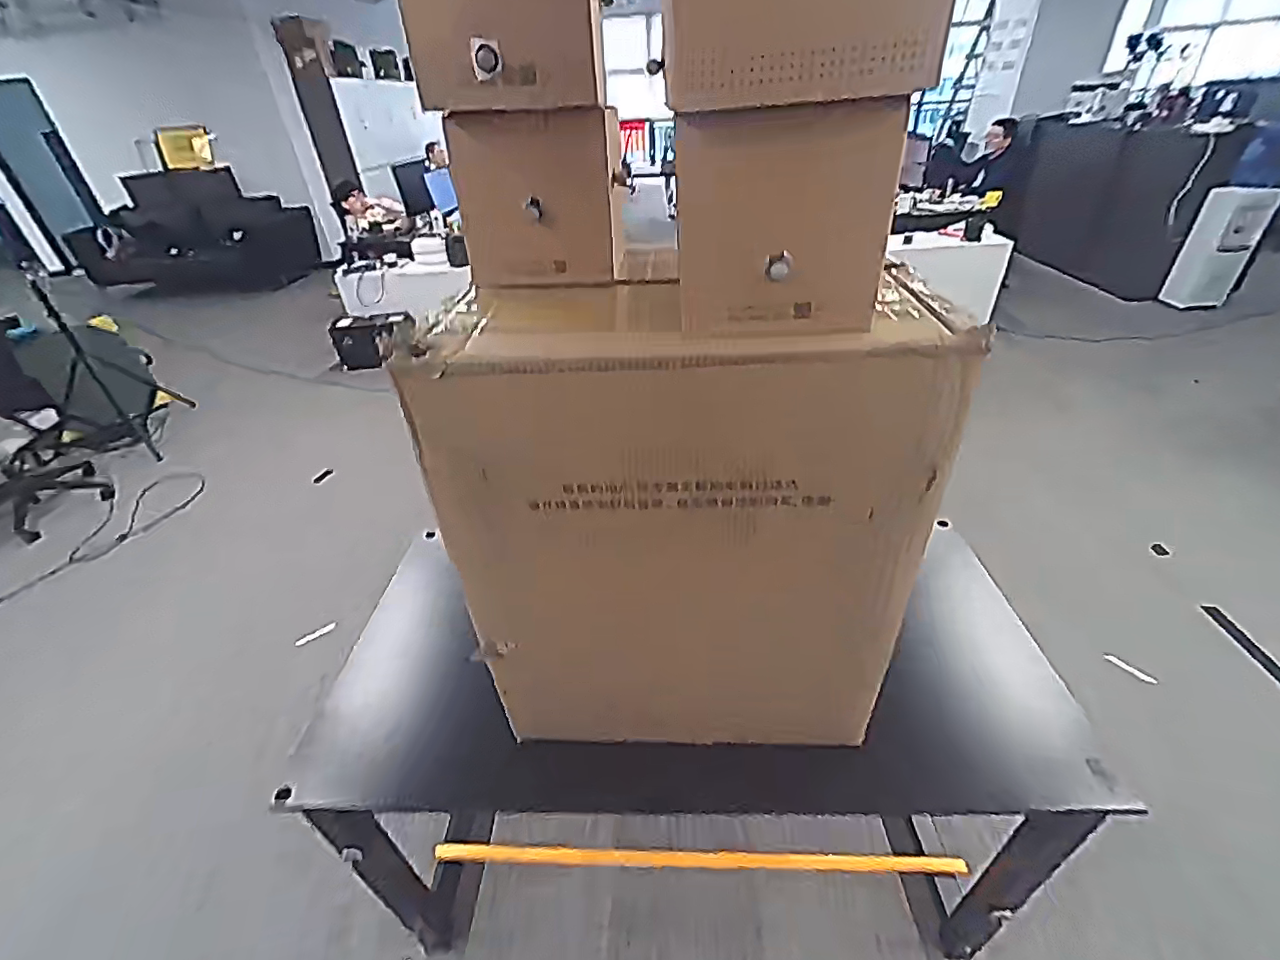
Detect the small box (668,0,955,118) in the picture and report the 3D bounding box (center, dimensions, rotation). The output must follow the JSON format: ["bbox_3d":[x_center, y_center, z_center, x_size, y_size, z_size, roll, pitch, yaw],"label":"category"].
[{"bbox_3d":[0.106,-0.355,0.371,0.179,0.176,0.168,-3,36,2],"label":"small box"}]

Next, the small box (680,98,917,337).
[{"bbox_3d":[0.121,-0.239,0.490,0.168,0.176,0.179,-1,36,6],"label":"small box"}]

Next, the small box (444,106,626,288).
[{"bbox_3d":[-0.105,-0.331,0.637,0.168,0.176,0.179,0,35,3],"label":"small box"}]

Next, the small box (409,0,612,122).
[{"bbox_3d":[-0.117,-0.446,0.516,0.168,0.176,0.179,-3,35,1],"label":"small box"}]
